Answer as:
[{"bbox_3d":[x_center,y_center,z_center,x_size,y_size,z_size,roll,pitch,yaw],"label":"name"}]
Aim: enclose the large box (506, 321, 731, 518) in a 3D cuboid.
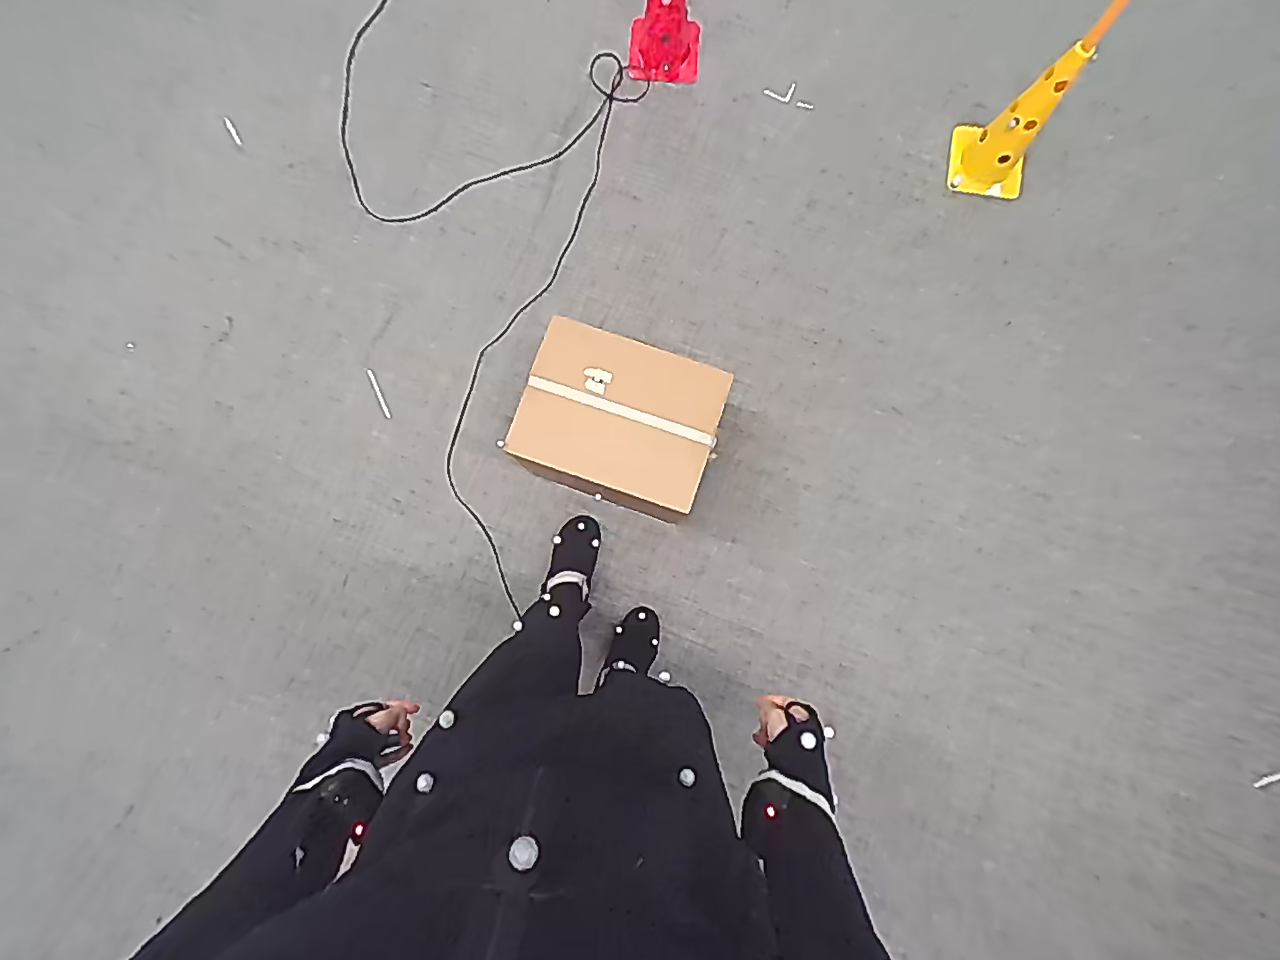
[{"bbox_3d":[-0.040,-0.118,1.267,0.408,0.320,0.320,19,82,3],"label":"large box"}]
